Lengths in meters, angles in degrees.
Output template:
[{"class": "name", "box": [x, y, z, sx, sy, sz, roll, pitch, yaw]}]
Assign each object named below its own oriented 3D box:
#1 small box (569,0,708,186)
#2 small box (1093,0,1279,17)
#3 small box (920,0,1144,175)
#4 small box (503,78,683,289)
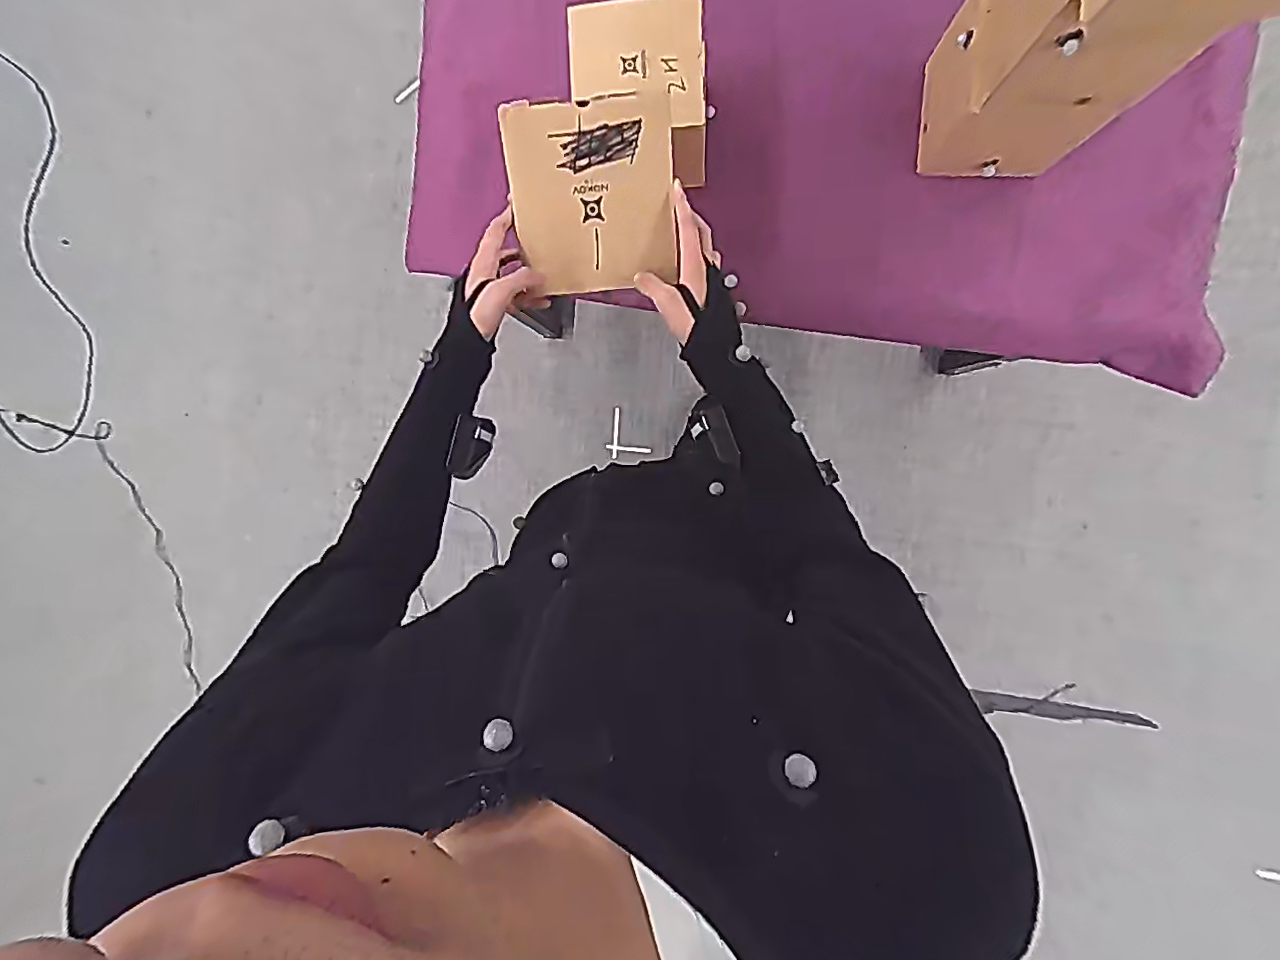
[{"class": "small box", "box": [0.006, -0.531, 0.761, 0.179, 0.176, 0.168, -1, 94, 6]}, {"class": "small box", "box": [0.472, -0.478, 0.385, 0.179, 0.176, 0.168, 1, 94, 6]}, {"class": "small box", "box": [0.499, -0.524, 0.709, 0.179, 0.176, 0.168, 4, 95, 5]}, {"class": "small box", "box": [-0.041, -0.314, 0.602, 0.168, 0.176, 0.179, -3, 113, 3]}]
